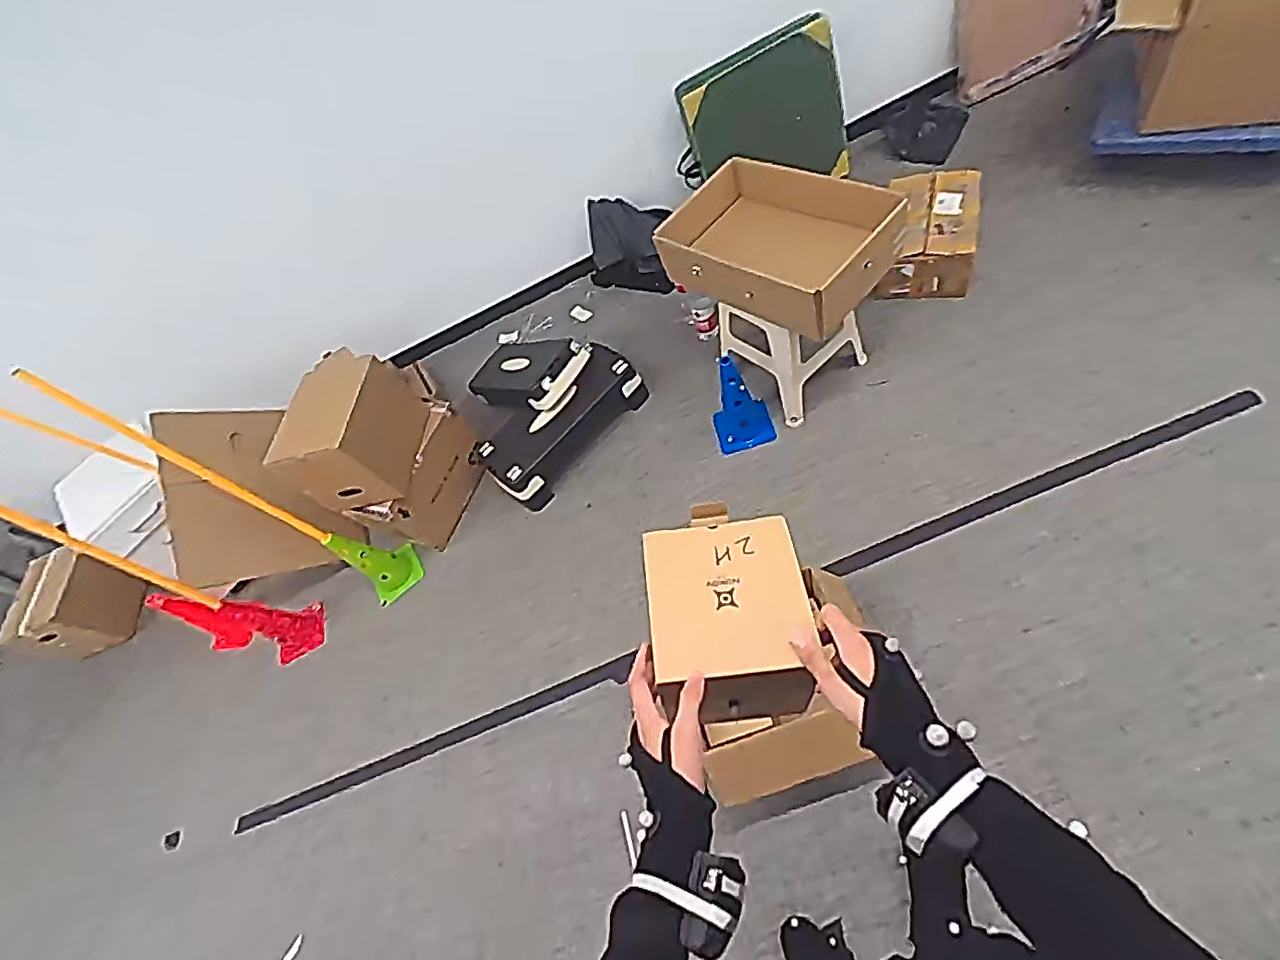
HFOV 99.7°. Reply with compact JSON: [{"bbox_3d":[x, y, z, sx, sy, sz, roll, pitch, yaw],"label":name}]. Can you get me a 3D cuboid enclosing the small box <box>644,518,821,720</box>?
[{"bbox_3d":[0.101,0.171,0.637,0.168,0.176,0.179,-8,51,2],"label":"small box"}]
